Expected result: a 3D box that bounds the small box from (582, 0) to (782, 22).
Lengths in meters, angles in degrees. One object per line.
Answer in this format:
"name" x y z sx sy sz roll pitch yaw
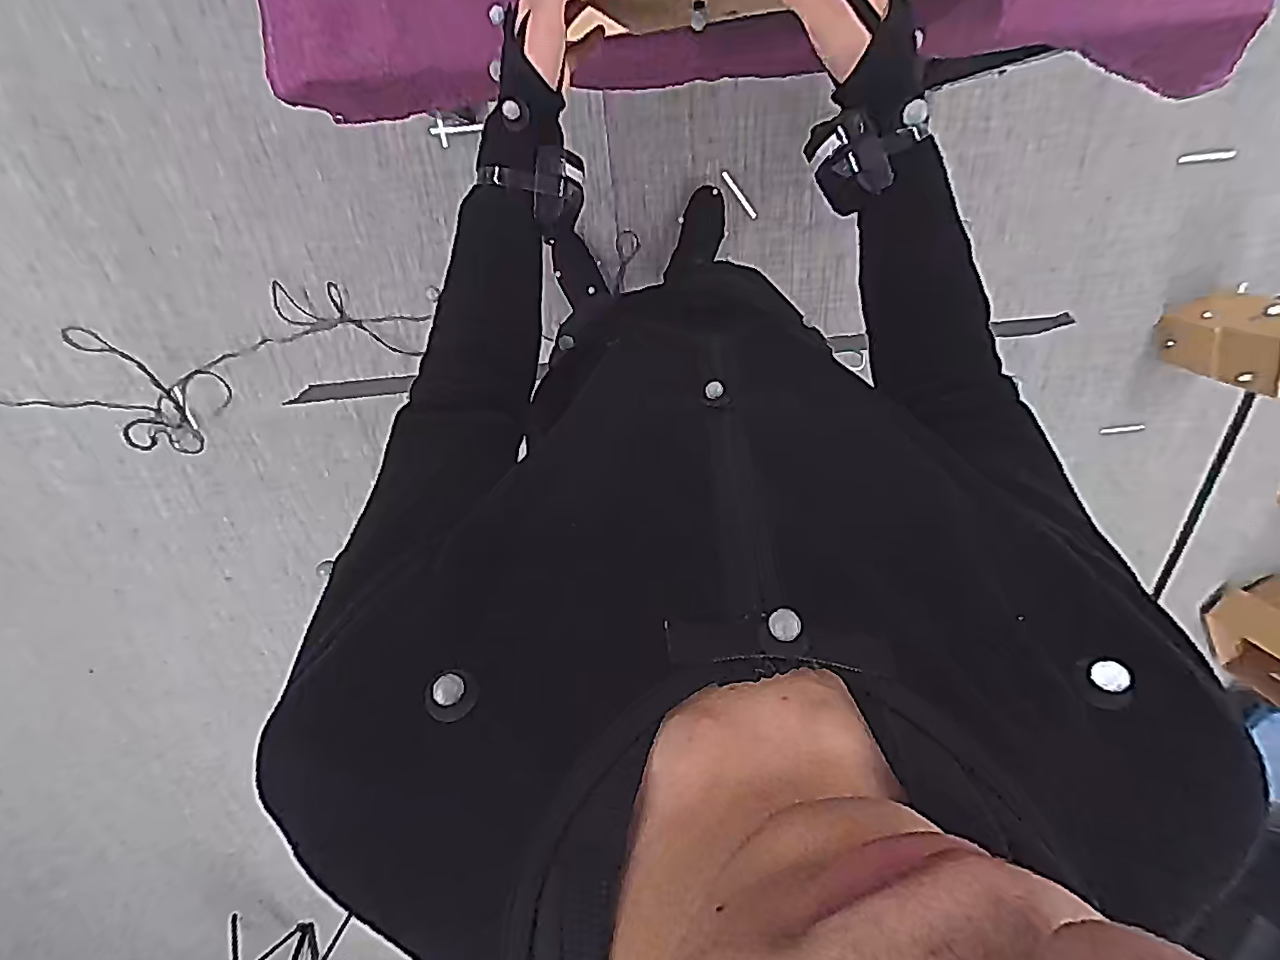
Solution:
"small box" 0.041 -0.497 0.434 0.168 0.176 0.179 4 122 15
